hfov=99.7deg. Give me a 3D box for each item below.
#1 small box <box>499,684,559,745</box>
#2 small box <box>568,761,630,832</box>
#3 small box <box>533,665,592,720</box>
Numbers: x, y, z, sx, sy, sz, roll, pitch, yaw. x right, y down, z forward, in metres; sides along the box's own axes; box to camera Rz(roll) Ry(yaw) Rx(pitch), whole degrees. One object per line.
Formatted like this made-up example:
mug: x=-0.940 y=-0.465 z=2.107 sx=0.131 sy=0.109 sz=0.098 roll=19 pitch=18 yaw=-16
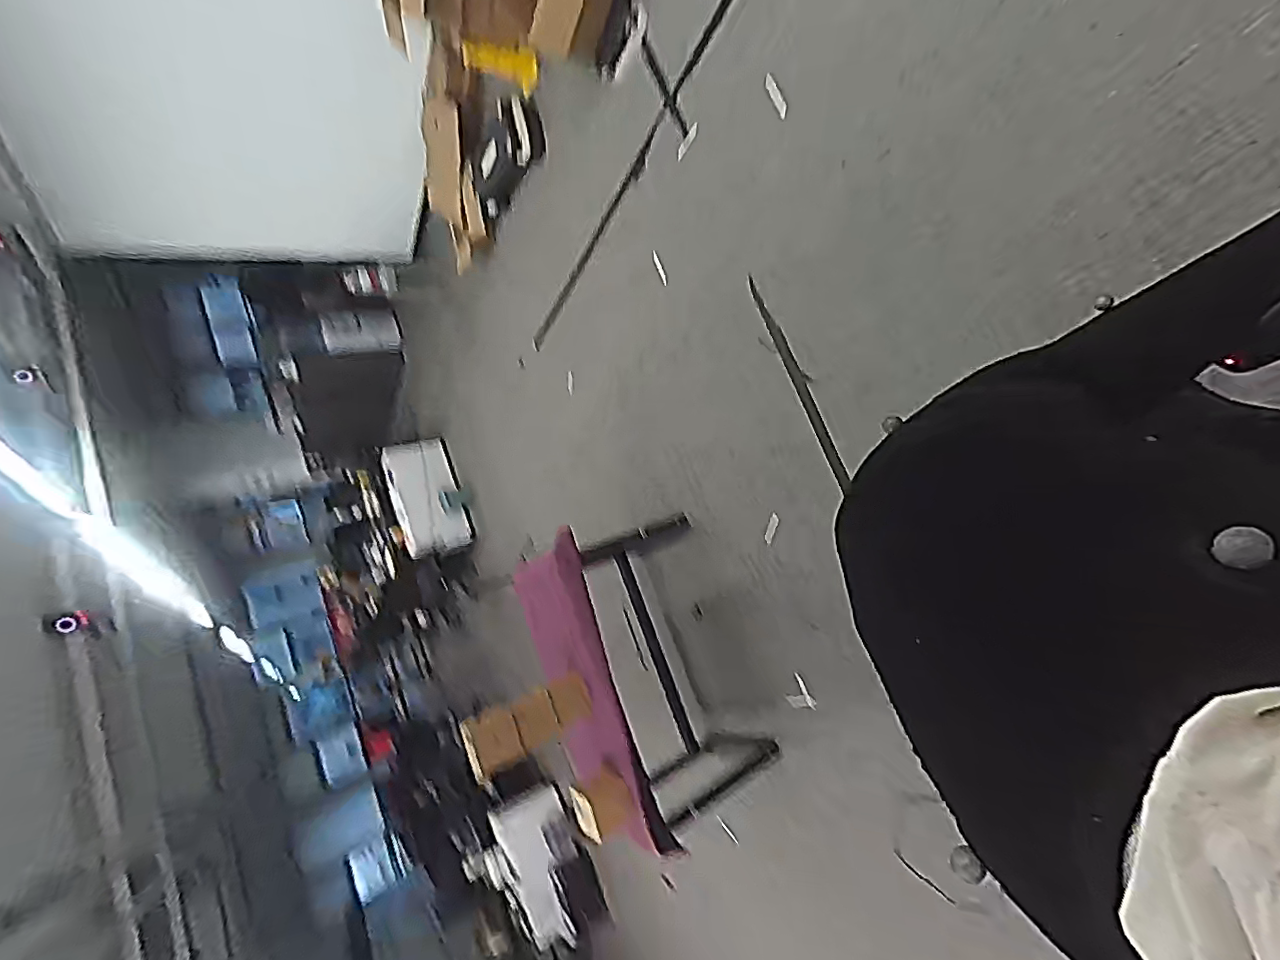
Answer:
small box: x=-0.448 y=0.944 z=2.184 sx=0.168 sy=0.176 sz=0.179 roll=-40 pitch=69 yaw=55
small box: x=-0.164 y=1.269 z=2.184 sx=0.179 sy=0.176 sz=0.168 roll=-19 pitch=86 yaw=56
small box: x=-0.327 y=0.896 z=2.285 sx=0.168 sy=0.176 sz=0.179 roll=-40 pitch=68 yaw=55
